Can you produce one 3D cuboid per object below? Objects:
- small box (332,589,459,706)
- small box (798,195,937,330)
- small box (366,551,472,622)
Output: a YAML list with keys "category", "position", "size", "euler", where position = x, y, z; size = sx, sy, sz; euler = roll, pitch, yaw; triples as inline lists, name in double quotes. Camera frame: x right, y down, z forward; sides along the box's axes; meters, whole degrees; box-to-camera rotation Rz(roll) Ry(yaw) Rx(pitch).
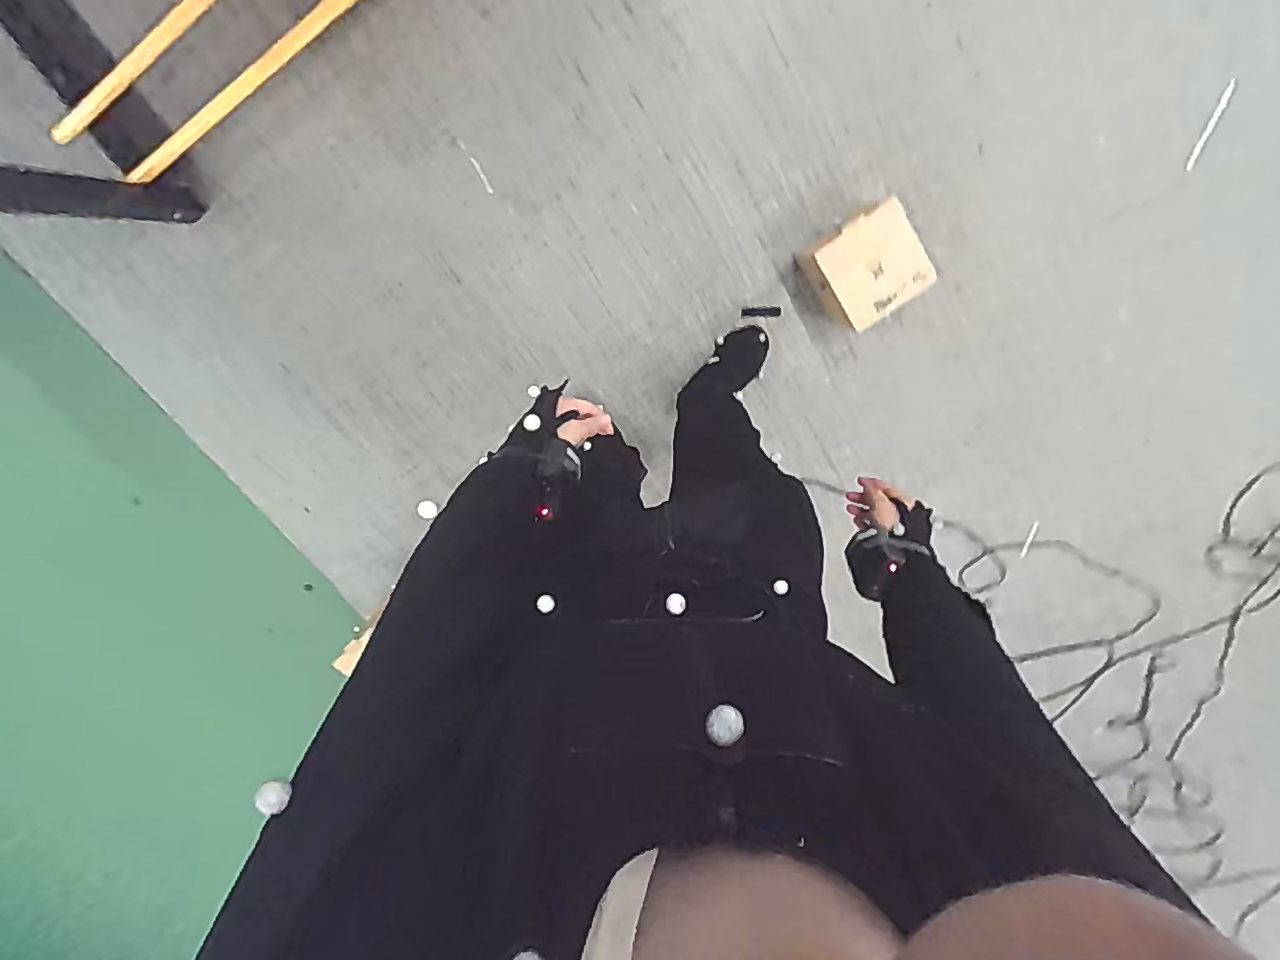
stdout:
- category: "small box"
  position: [-0.563, 0.381, 1.268]
  size: [0.168, 0.176, 0.179]
  euler: [-41, 106, 19]
- category: "small box"
  position: [0.433, -0.420, 1.059]
  size: [0.168, 0.176, 0.179]
  euler: [-34, 106, 15]
- category: "small box"
  position: [-0.566, 0.318, 1.418]
  size: [0.179, 0.176, 0.168]
  euler: [-38, 106, 18]
